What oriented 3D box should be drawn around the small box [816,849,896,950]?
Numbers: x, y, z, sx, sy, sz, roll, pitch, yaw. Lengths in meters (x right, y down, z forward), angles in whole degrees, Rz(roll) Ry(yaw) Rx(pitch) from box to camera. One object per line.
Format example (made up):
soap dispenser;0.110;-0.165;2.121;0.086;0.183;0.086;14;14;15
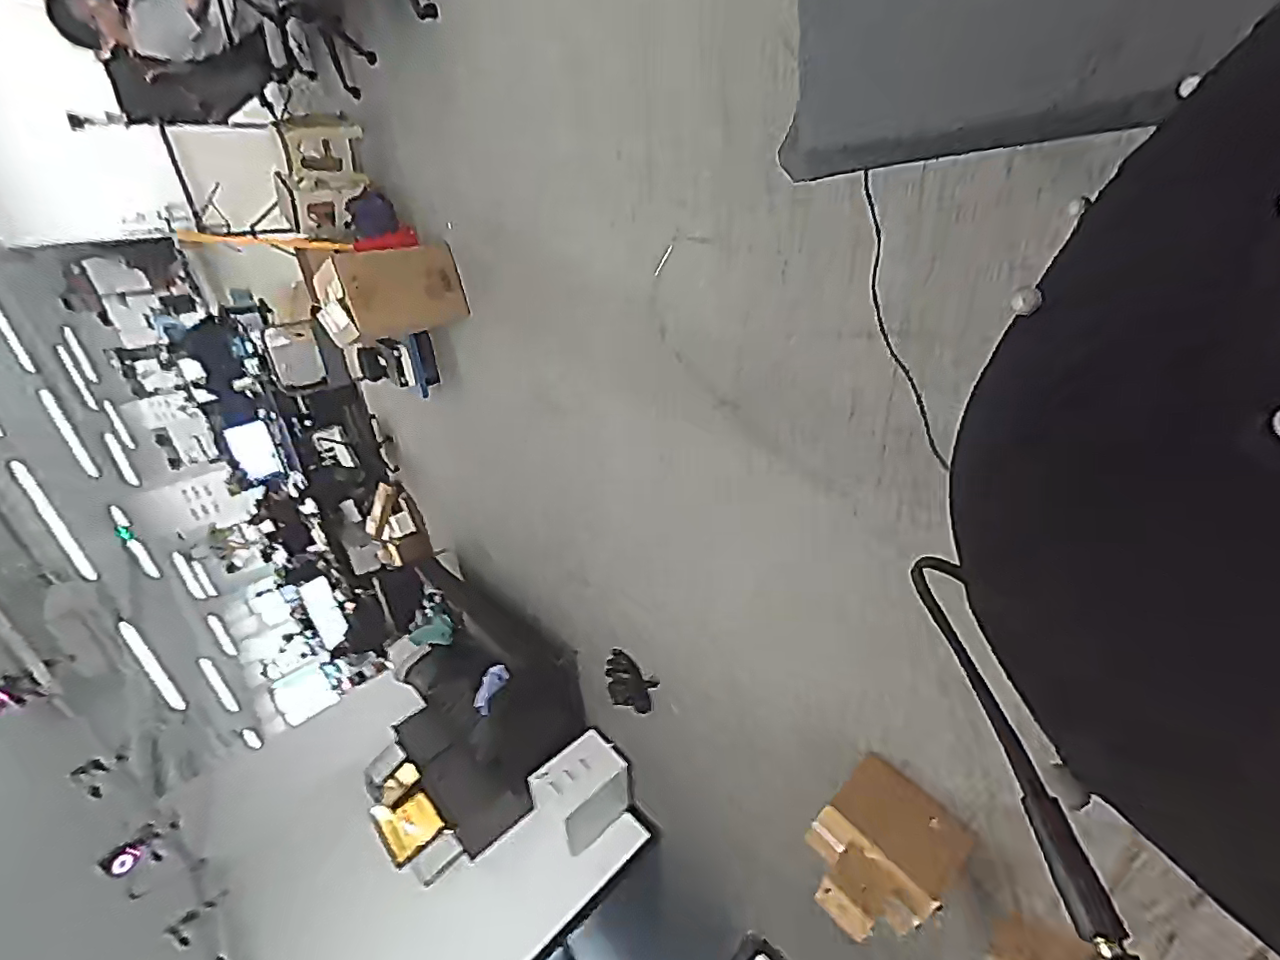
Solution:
small box;0.722;1.387;1.799;0.179;0.176;0.168;30;131;38
